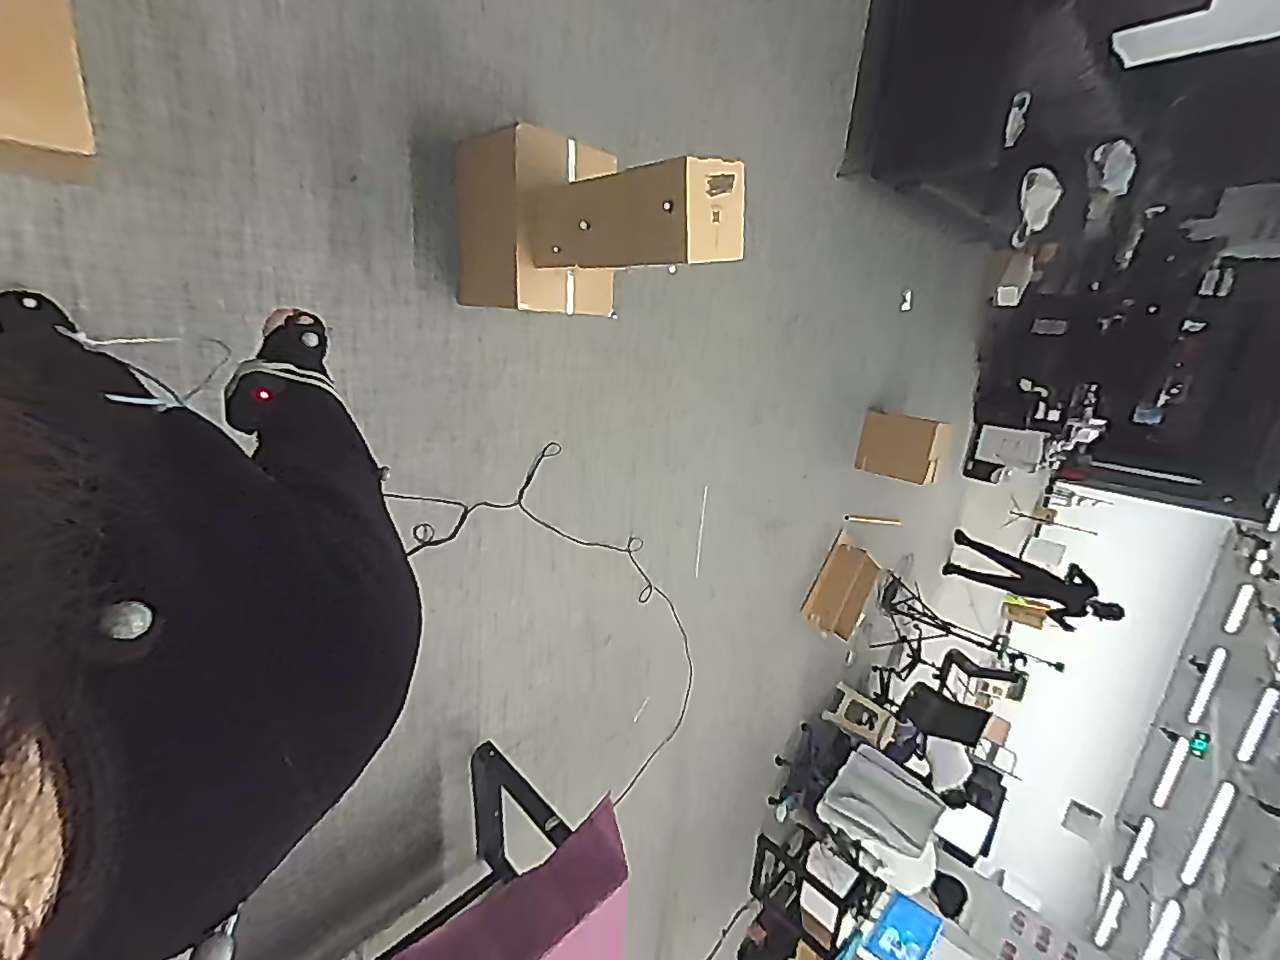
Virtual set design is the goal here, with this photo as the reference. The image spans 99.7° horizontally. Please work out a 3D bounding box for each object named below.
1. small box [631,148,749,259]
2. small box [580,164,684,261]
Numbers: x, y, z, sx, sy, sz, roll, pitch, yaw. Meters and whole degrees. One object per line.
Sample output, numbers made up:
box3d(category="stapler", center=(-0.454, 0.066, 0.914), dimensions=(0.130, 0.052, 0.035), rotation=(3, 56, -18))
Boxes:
box3d(category="small box", center=(0.096, -0.534, 1.062), dimensions=(0.168, 0.176, 0.179), rotation=(-22, 120, -37))
box3d(category="small box", center=(-0.015, -0.575, 1.178), dimensions=(0.168, 0.176, 0.179), rotation=(-21, 120, -37))
